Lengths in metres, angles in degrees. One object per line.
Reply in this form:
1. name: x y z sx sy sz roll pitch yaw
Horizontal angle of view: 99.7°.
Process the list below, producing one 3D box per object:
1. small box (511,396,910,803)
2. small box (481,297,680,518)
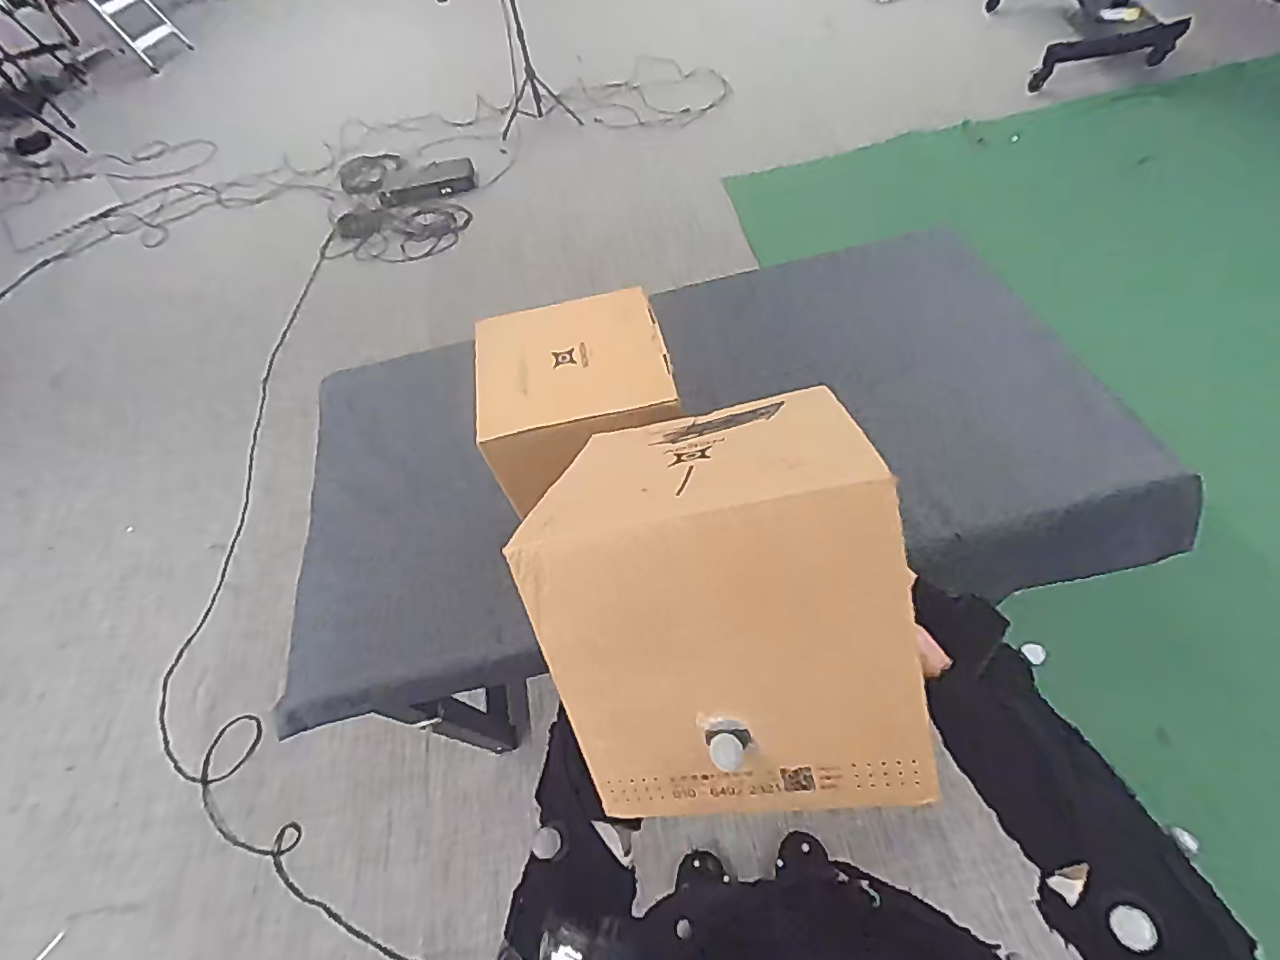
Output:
1. small box: 0.050 0.061 0.333 0.168 0.176 0.179 -12 18 15
2. small box: -0.055 -0.060 0.574 0.179 0.176 0.168 -13 53 0
